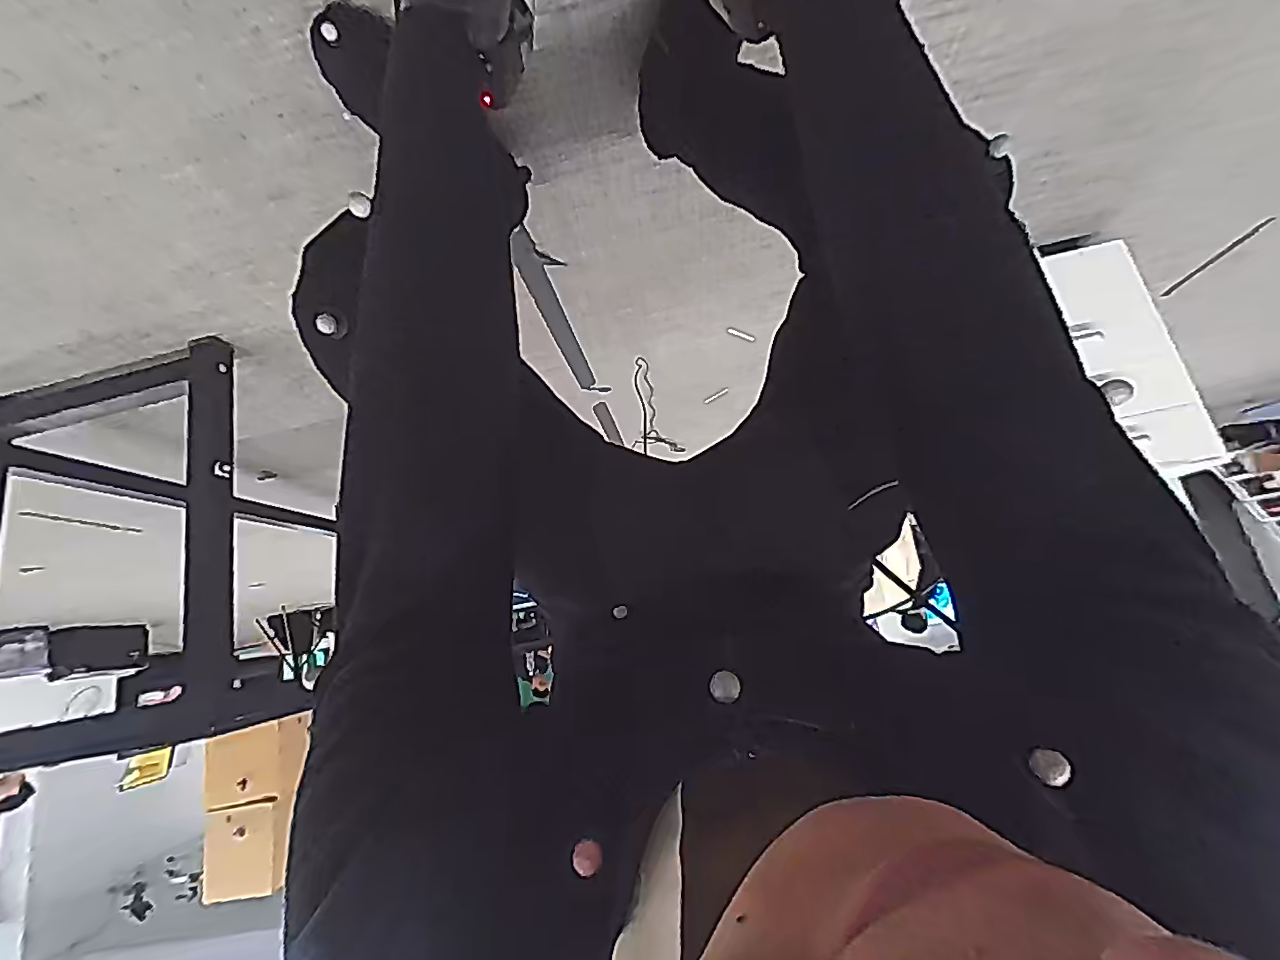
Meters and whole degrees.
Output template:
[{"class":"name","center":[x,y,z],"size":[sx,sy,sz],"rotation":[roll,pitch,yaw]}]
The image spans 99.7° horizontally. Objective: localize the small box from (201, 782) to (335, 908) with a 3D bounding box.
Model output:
[{"class":"small box","center":[-0.782,0.764,1.151],"size":[0.168,0.176,0.179],"rotation":[-13,164,8]}]

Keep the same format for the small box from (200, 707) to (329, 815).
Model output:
[{"class":"small box","center":[-0.819,0.610,1.194],"size":[0.179,0.176,0.168],"rotation":[-12,165,5]}]
